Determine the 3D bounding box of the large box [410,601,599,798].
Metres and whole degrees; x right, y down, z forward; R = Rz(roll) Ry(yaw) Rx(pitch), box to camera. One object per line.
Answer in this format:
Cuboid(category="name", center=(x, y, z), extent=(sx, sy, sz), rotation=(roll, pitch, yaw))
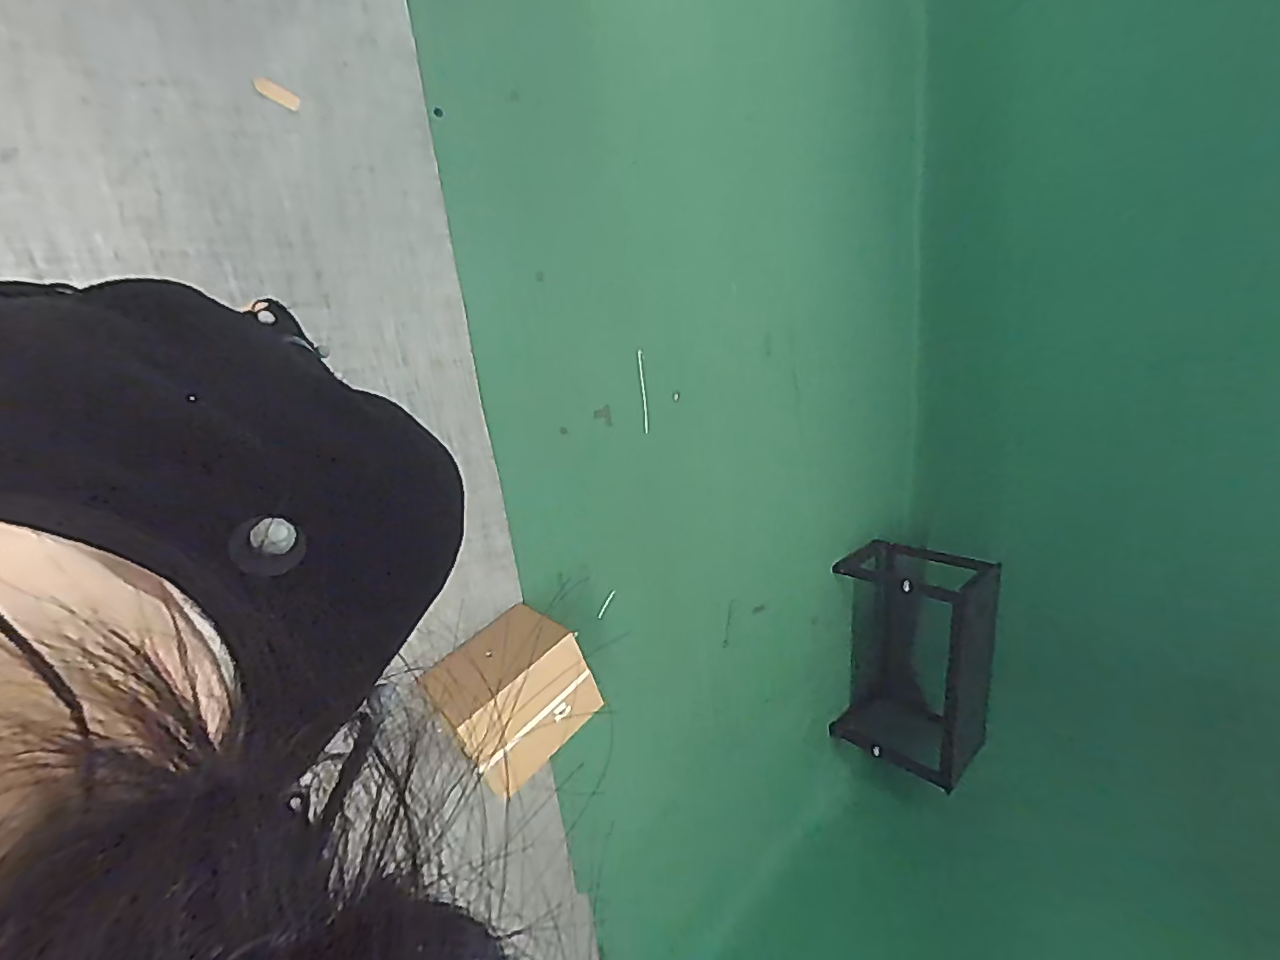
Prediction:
Cuboid(category="large box", center=(-0.407, 0.644, 1.656), extent=(0.408, 0.320, 0.320), rotation=(-36, 121, -34))
